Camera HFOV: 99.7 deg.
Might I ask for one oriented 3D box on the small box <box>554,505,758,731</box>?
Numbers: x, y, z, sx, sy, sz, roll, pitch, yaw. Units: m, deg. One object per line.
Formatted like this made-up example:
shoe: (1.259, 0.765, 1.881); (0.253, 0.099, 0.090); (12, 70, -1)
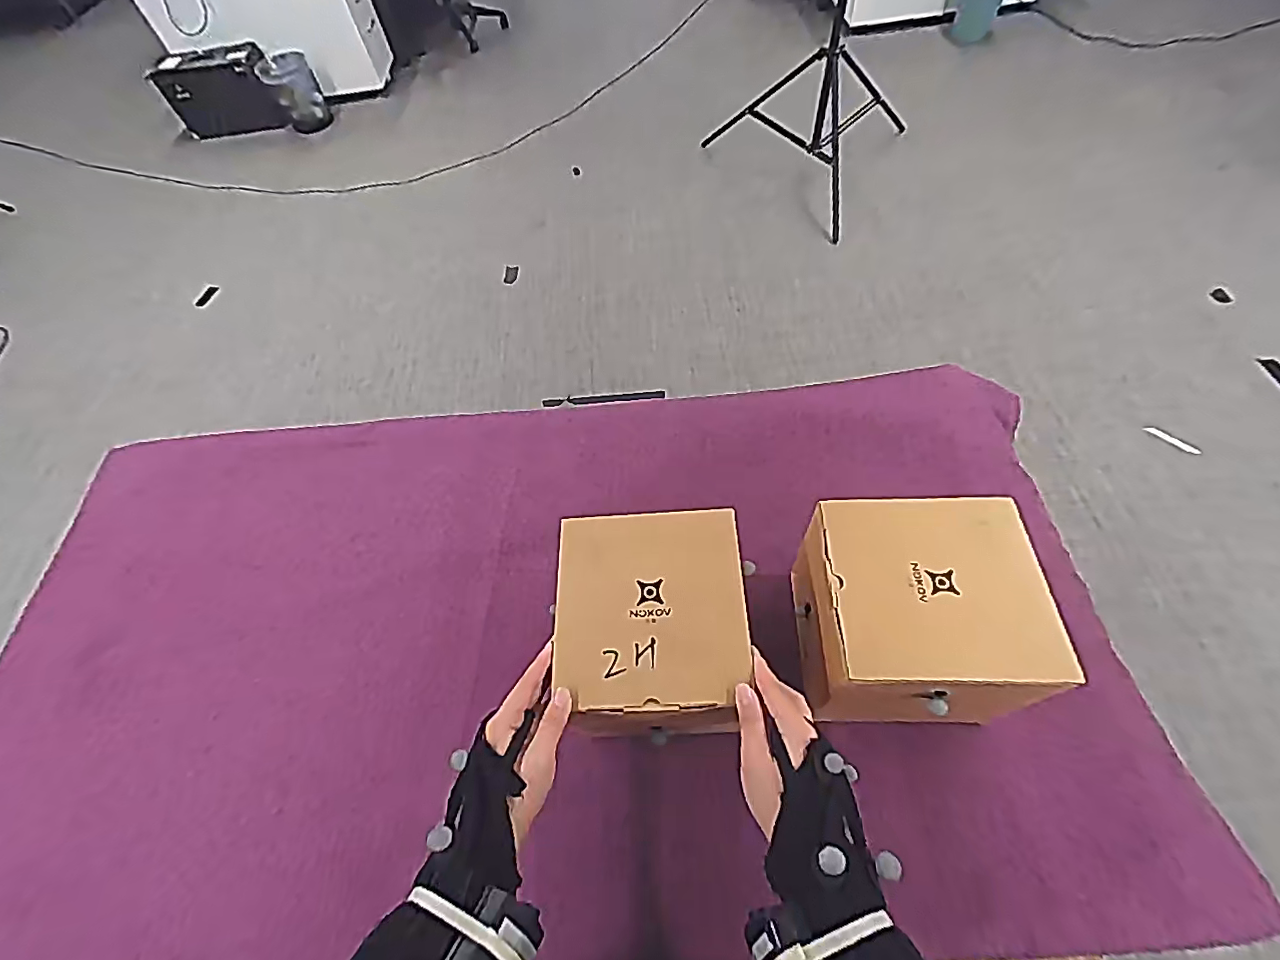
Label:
small box: (0.019, 0.143, 0.538); (0.168, 0.176, 0.179); (-4, 59, 5)

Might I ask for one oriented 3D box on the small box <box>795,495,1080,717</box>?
small box: (0.259, 0.127, 0.526); (0.179, 0.176, 0.168); (-2, 57, 6)
